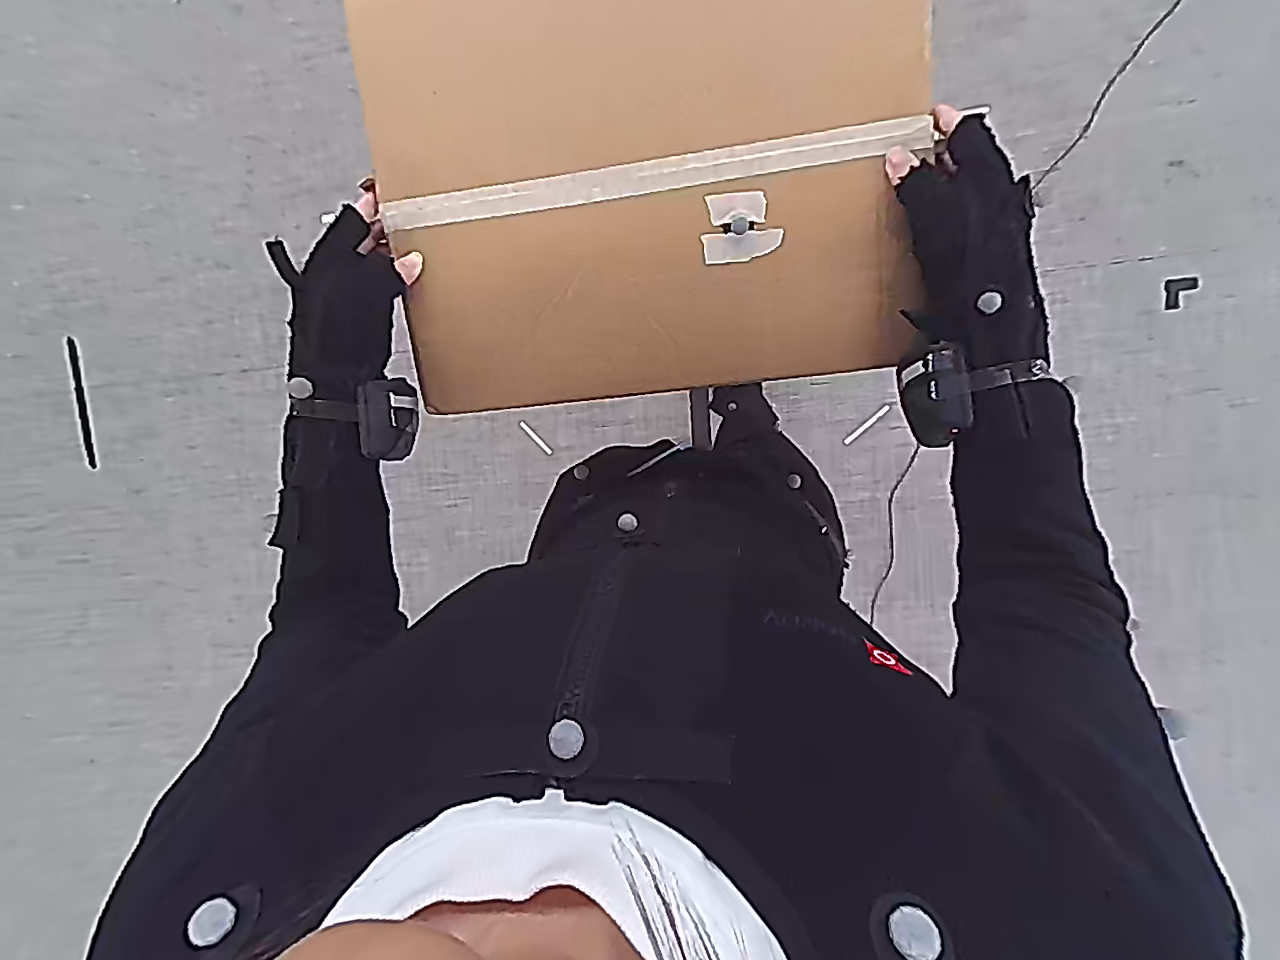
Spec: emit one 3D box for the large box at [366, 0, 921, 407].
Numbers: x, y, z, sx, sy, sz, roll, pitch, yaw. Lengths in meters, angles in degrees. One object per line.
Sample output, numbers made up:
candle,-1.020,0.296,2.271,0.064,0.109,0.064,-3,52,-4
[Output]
large box,0.017,-0.264,0.560,0.408,0.320,0.320,-5,103,6
